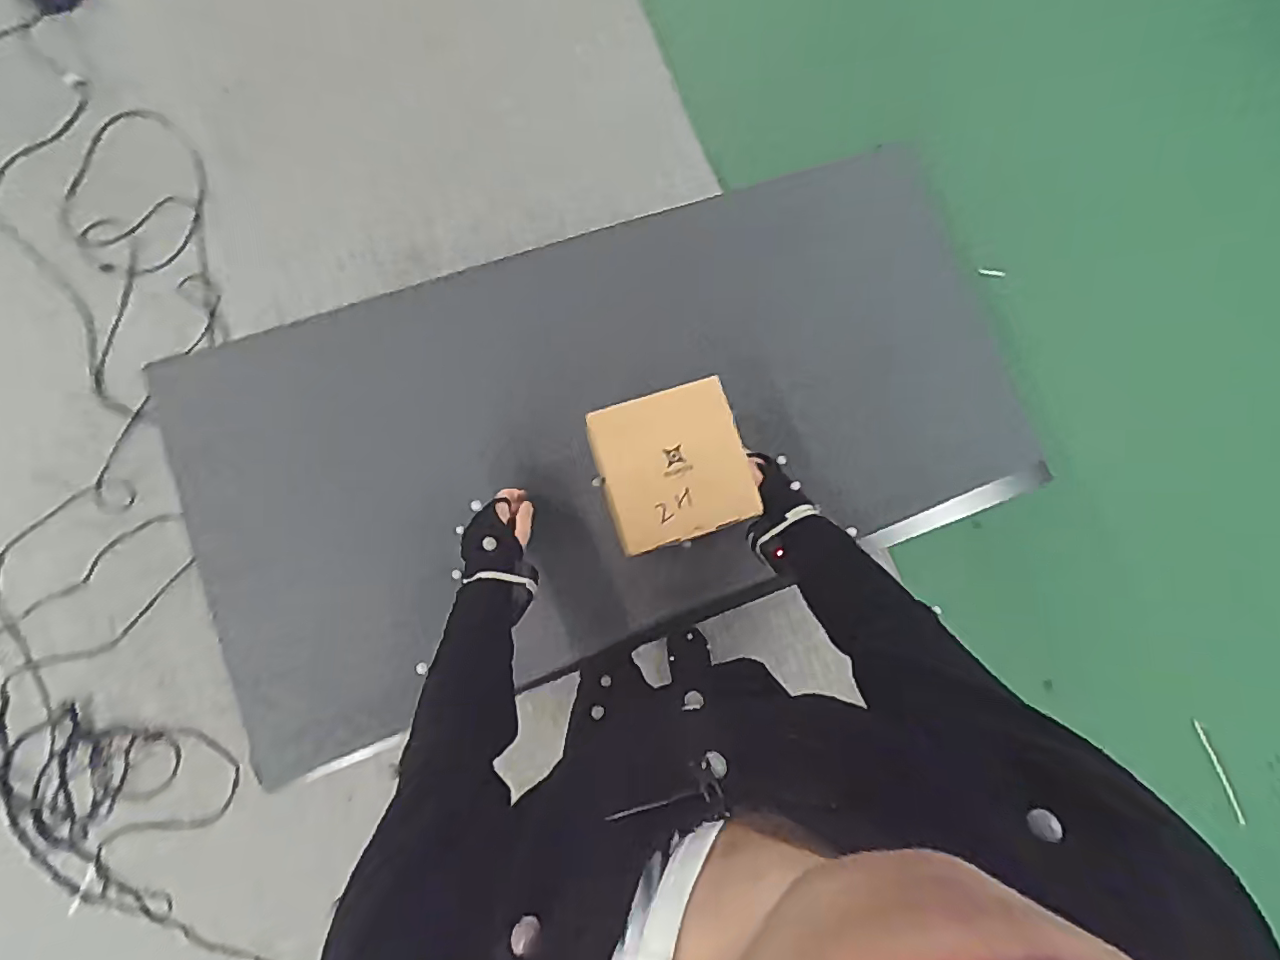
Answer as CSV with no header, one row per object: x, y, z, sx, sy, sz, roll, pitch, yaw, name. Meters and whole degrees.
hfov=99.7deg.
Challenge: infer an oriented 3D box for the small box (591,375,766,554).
0.038,-0.009,0.698,0.168,0.176,0.179,-17,83,-5,small box
